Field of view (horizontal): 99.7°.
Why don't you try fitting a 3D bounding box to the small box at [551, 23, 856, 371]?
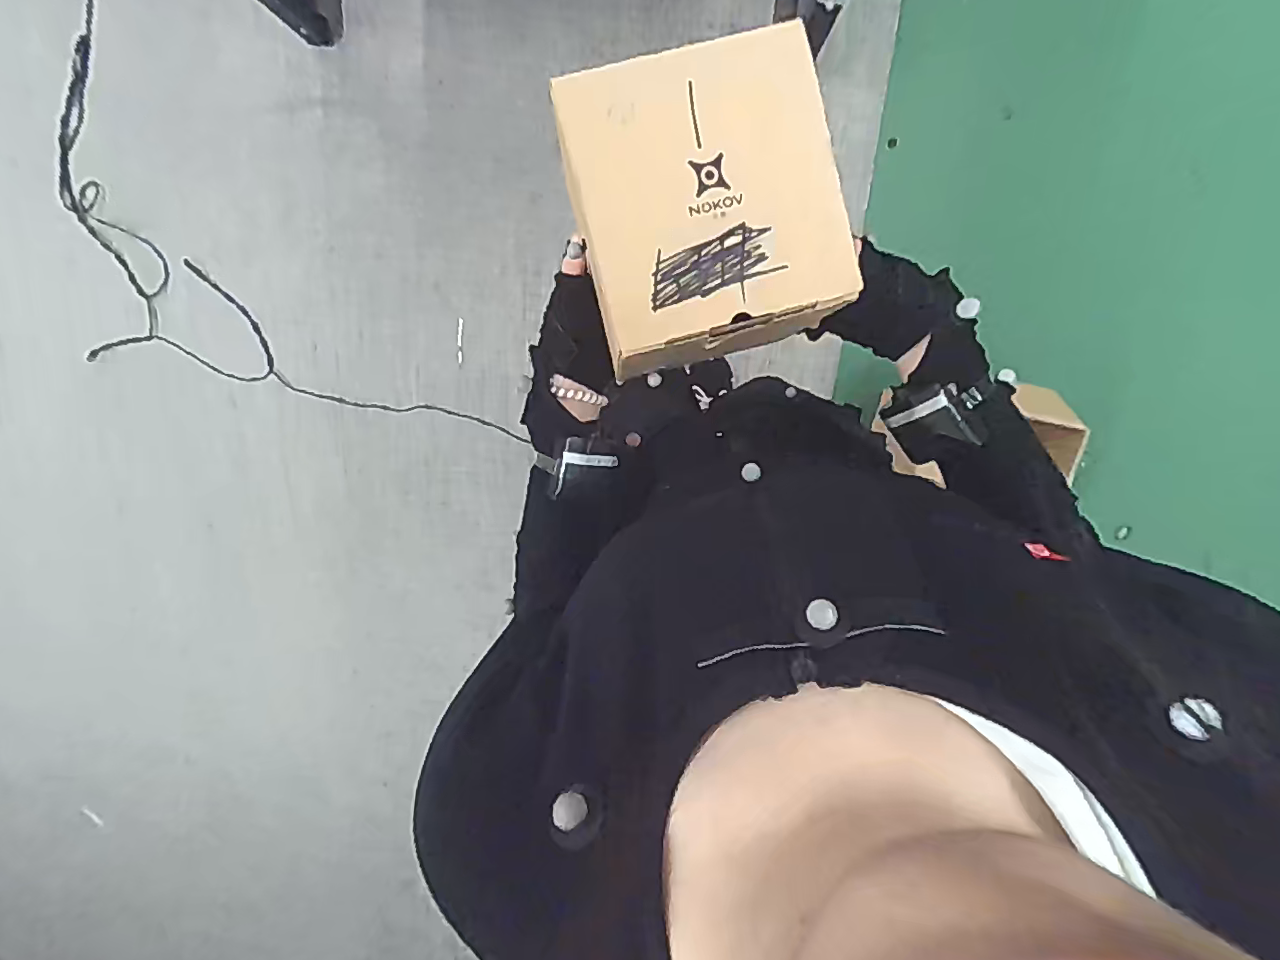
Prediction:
[{"bbox_3d":[0.039,-0.190,0.423,0.168,0.176,0.179,-15,94,-2],"label":"small box"}]
